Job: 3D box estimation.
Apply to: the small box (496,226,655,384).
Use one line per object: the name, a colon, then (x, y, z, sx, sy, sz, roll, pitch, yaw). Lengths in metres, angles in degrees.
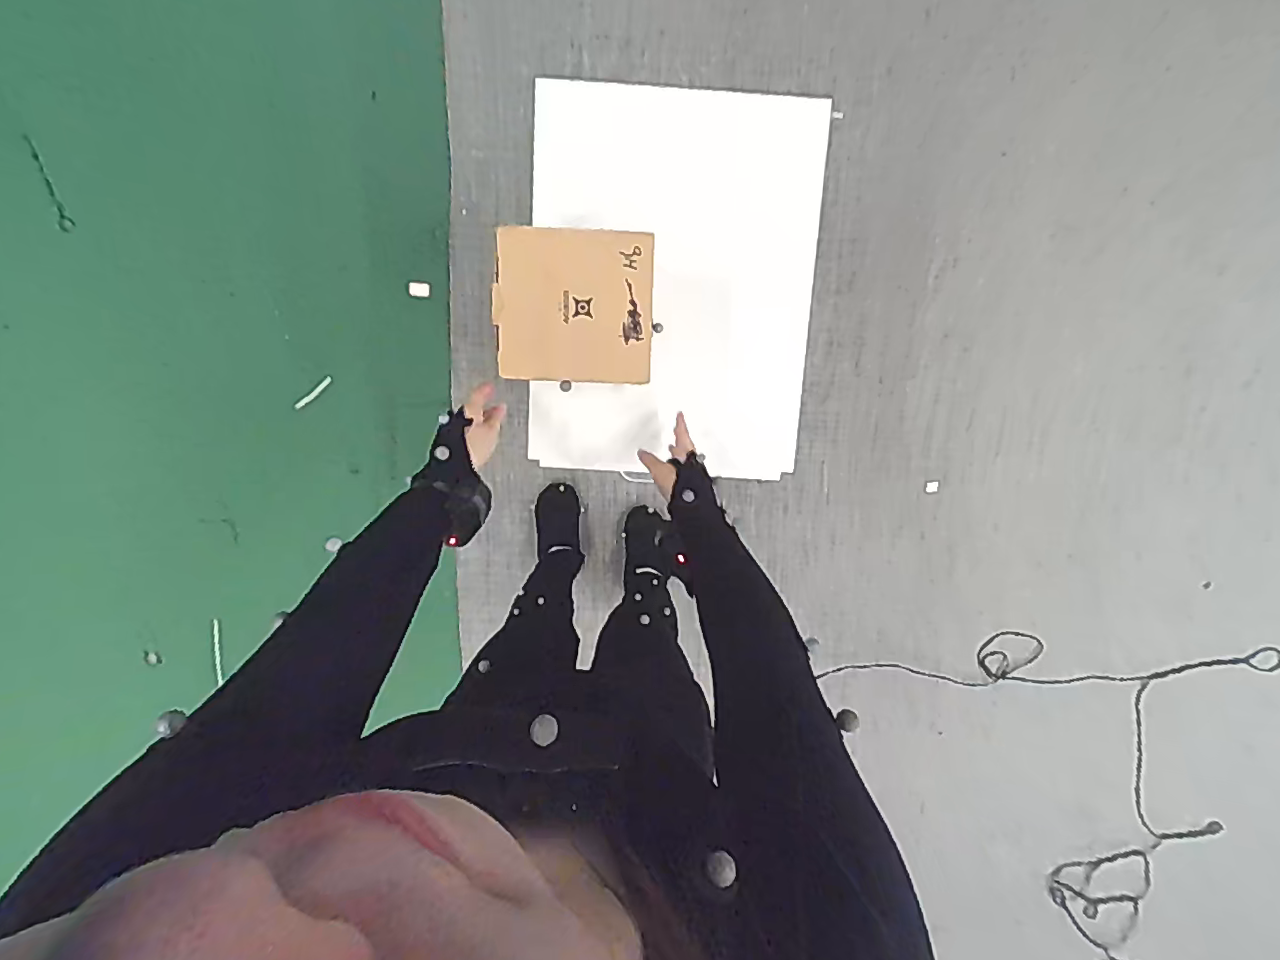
small box: (-0.075, -0.208, 0.685, 0.179, 0.176, 0.168, 1, 100, -3)
